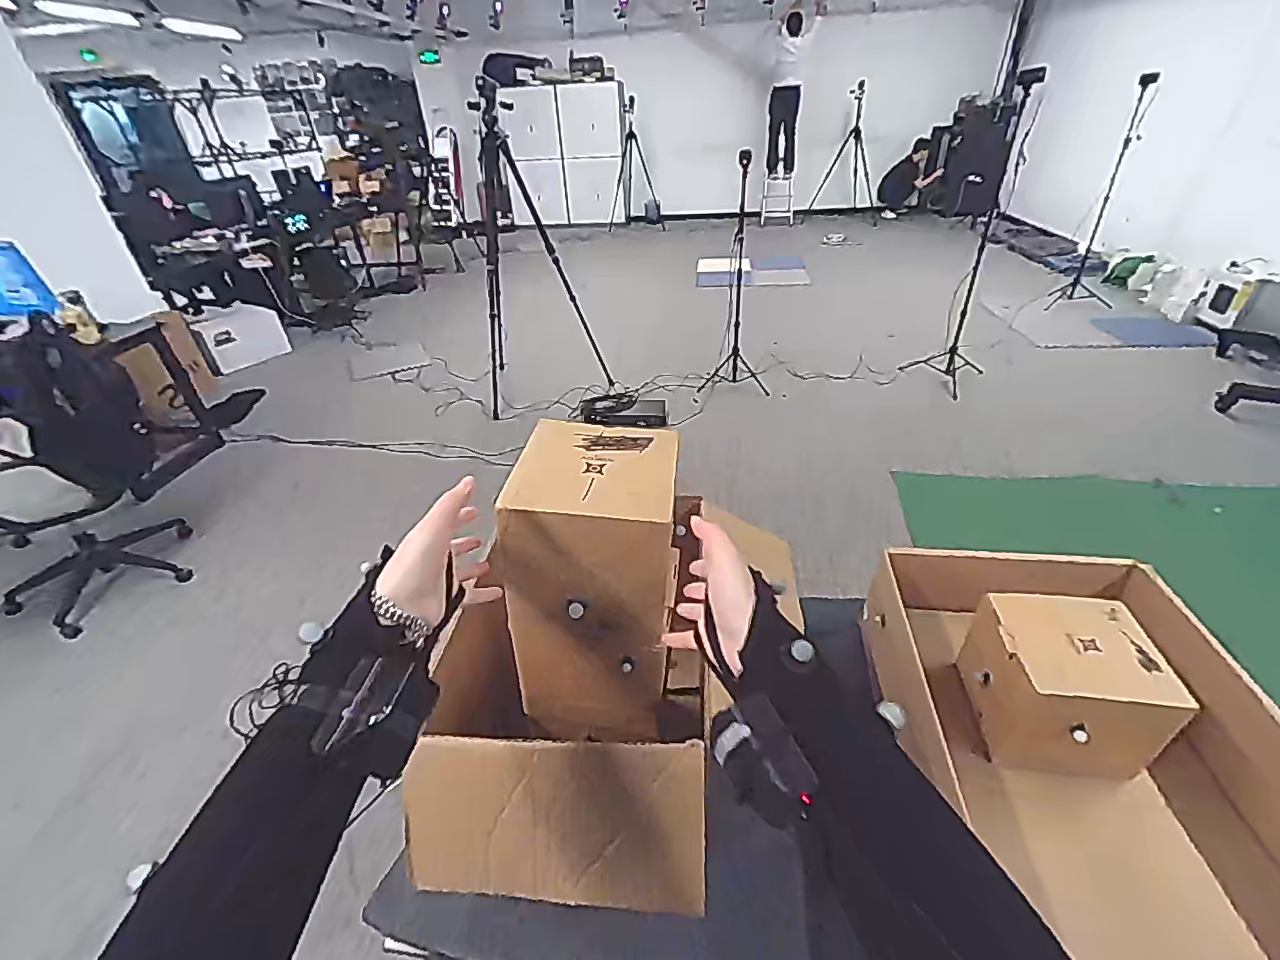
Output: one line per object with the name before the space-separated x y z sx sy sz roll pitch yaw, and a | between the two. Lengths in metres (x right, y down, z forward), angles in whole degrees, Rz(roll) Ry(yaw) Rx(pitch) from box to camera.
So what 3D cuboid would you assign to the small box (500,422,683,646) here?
small box | -0.044 0.055 0.604 0.168 0.176 0.179 5 34 4
